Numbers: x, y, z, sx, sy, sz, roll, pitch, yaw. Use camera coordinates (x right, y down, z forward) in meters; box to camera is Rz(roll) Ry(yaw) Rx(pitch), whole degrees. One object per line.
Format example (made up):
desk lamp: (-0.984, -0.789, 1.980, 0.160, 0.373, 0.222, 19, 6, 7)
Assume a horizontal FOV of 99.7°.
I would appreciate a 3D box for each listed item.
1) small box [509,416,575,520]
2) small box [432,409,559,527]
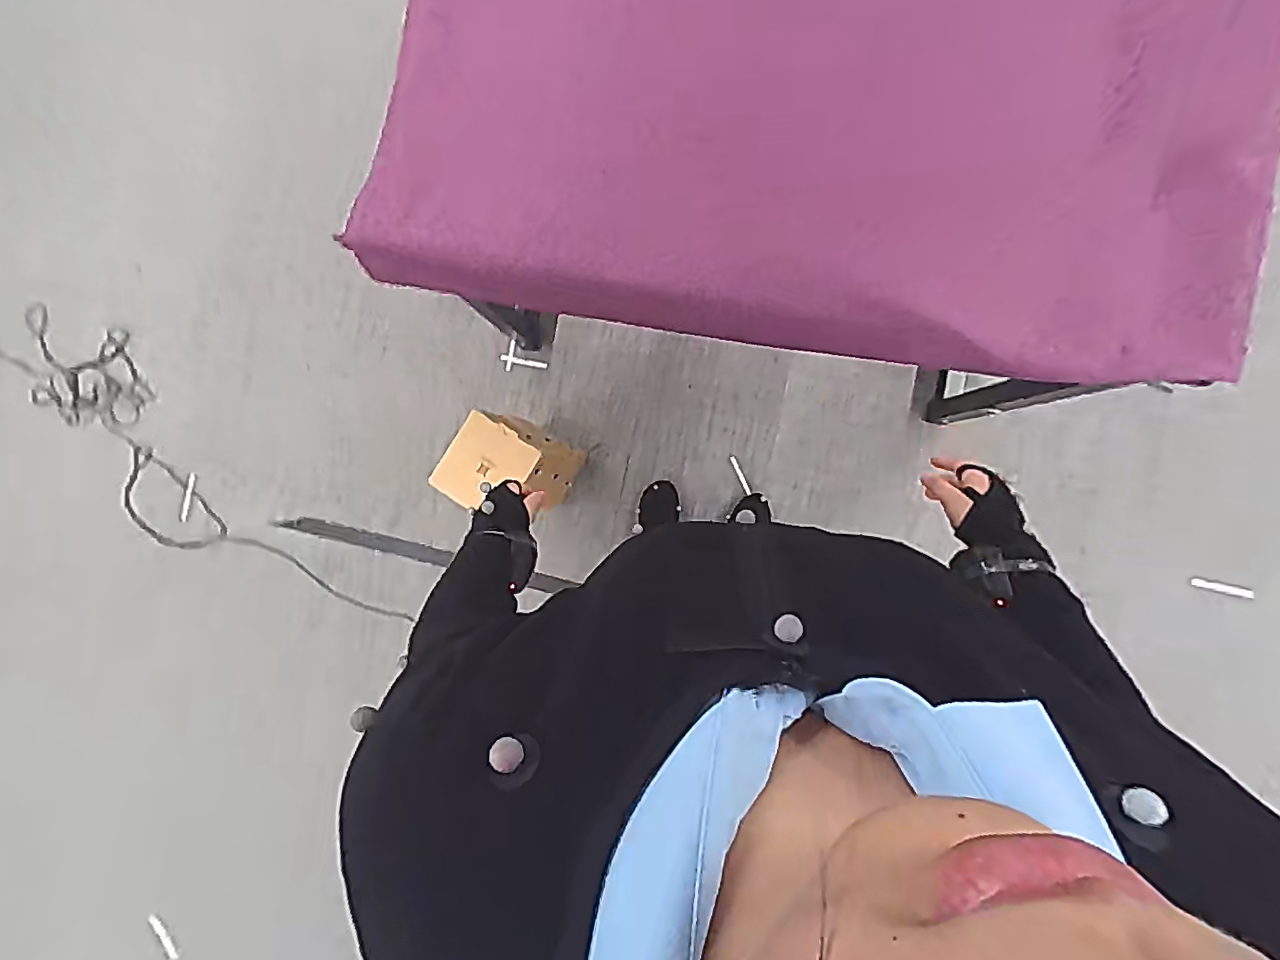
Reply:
small box: (-0.273, -0.029, 1.289, 0.168, 0.176, 0.179, 39, 94, 3)
small box: (-0.289, -0.023, 1.127, 0.168, 0.176, 0.179, 32, 92, 3)
